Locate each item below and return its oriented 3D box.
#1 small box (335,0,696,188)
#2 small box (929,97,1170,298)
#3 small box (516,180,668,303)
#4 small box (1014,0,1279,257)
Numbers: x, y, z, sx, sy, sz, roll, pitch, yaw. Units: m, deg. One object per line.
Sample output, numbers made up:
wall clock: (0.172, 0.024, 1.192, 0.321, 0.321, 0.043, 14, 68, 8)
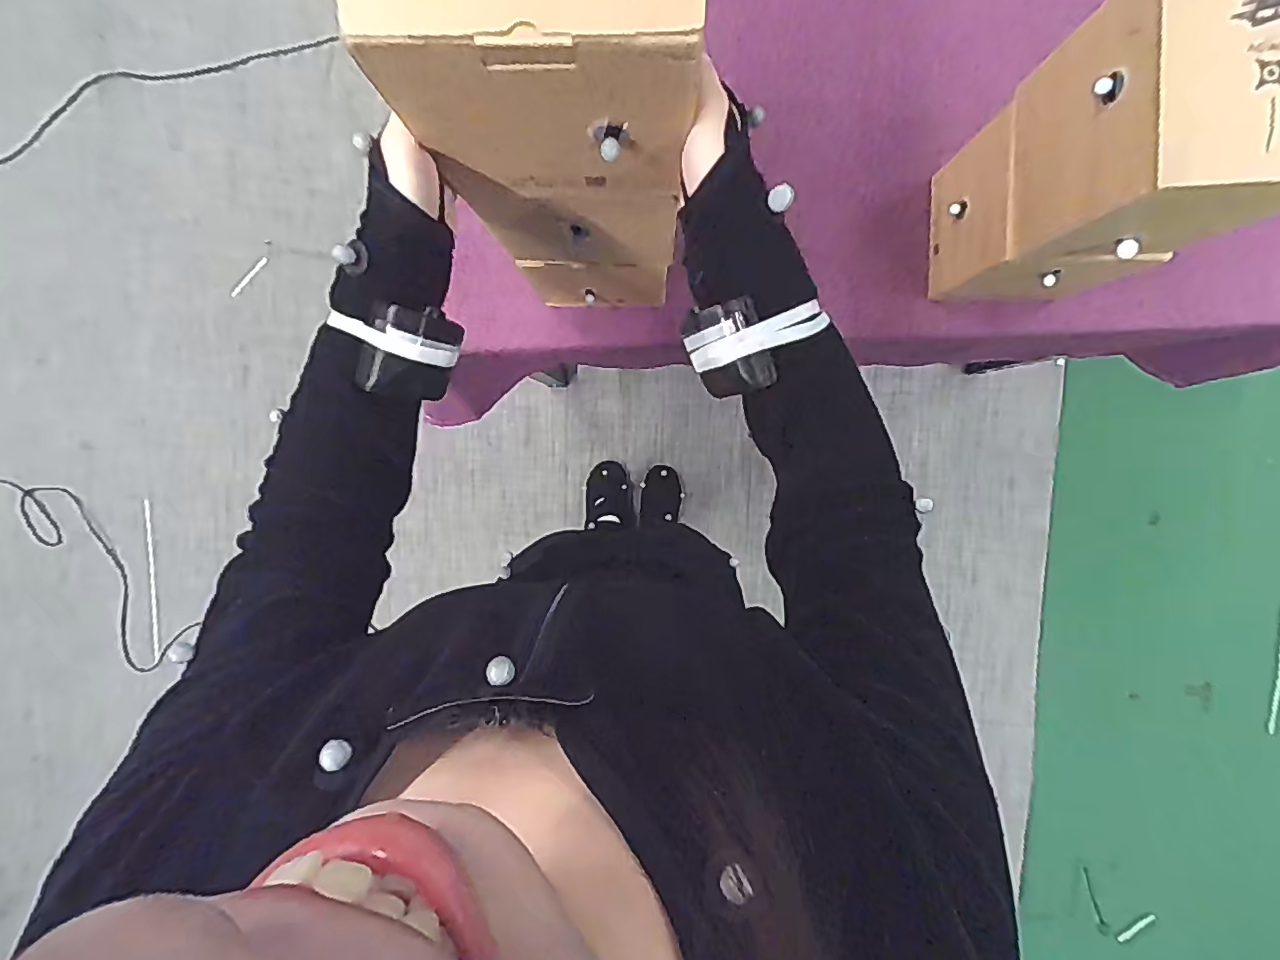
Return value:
small box: (-0.054, -0.290, 0.312, 0.168, 0.176, 0.179, 0, 96, 0)
small box: (0.470, -0.320, 0.642, 0.179, 0.176, 0.168, 1, 95, 2)
small box: (-0.051, -0.326, 0.658, 0.168, 0.176, 0.179, 0, 95, 1)
small box: (0.465, -0.316, 0.477, 0.168, 0.176, 0.179, -2, 95, 2)
